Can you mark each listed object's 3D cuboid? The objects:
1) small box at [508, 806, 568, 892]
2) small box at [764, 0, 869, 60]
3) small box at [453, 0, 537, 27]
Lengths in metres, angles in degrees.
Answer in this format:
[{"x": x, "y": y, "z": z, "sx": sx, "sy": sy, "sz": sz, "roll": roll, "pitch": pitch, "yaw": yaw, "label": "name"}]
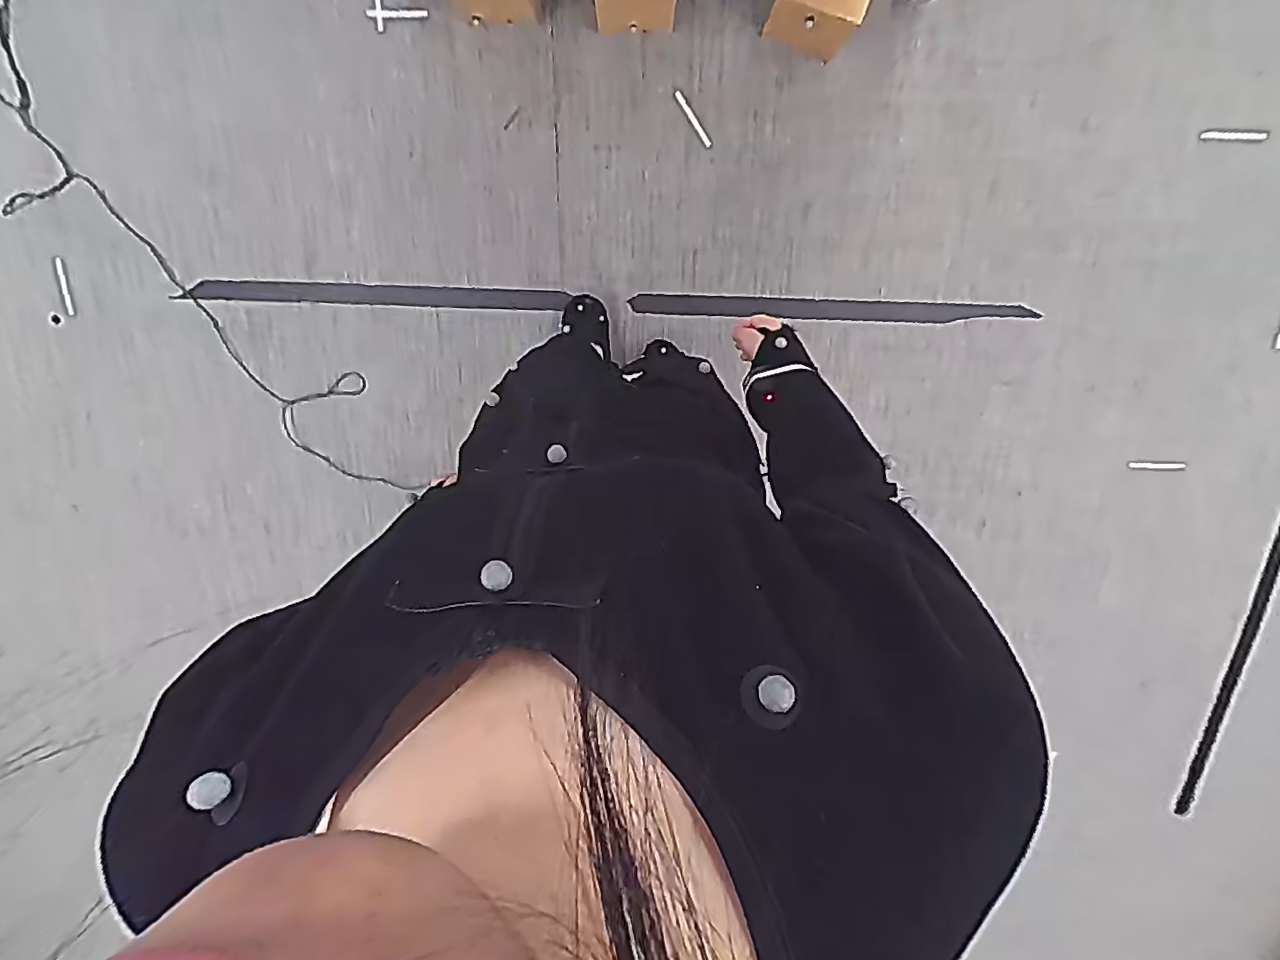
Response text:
[{"x": -0.332, "y": 1.217, "z": 1.786, "sx": 0.168, "sy": 0.176, "sz": 0.179, "roll": 0, "pitch": 107, "yaw": 0, "label": "small box"}, {"x": 0.382, "y": -1.025, "z": 1.131, "sx": 0.179, "sy": 0.176, "sz": 0.168, "roll": 18, "pitch": 106, "yaw": -4, "label": "small box"}, {"x": -0.308, "y": -1.078, "z": 1.114, "sx": 0.168, "sy": 0.176, "sz": 0.179, "roll": 2, "pitch": 105, "yaw": -1, "label": "small box"}]
